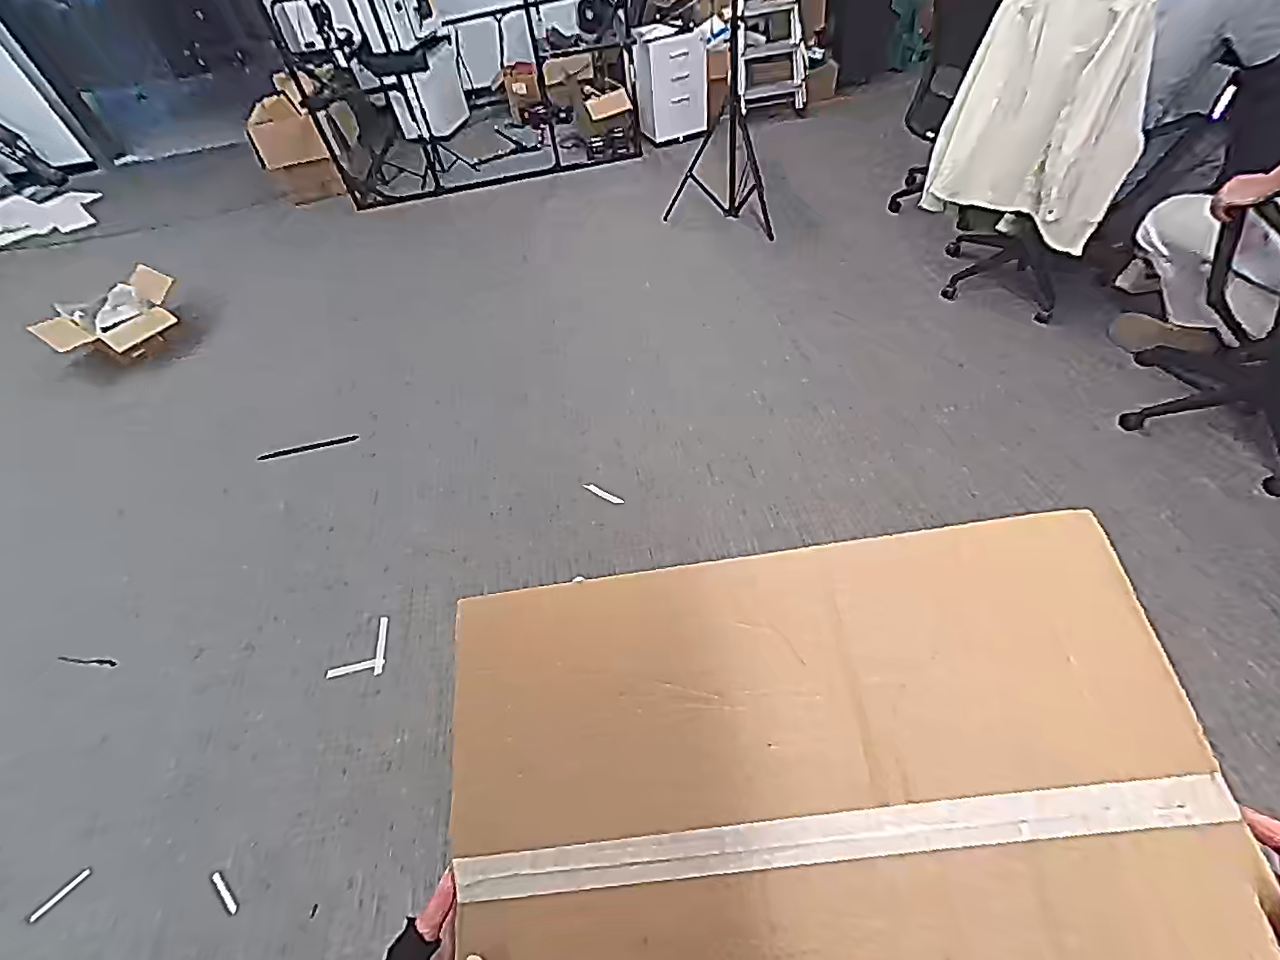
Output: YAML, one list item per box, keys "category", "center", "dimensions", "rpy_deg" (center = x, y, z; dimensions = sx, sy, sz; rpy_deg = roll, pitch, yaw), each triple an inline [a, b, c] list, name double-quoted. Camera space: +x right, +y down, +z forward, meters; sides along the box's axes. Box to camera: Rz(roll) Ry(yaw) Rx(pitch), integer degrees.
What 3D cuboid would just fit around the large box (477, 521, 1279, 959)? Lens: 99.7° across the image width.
- category: "large box"
  center: [0.121, 0.255, 0.431]
  dimensions: [0.408, 0.320, 0.320]
  rpy_deg: [-9, 67, 5]
